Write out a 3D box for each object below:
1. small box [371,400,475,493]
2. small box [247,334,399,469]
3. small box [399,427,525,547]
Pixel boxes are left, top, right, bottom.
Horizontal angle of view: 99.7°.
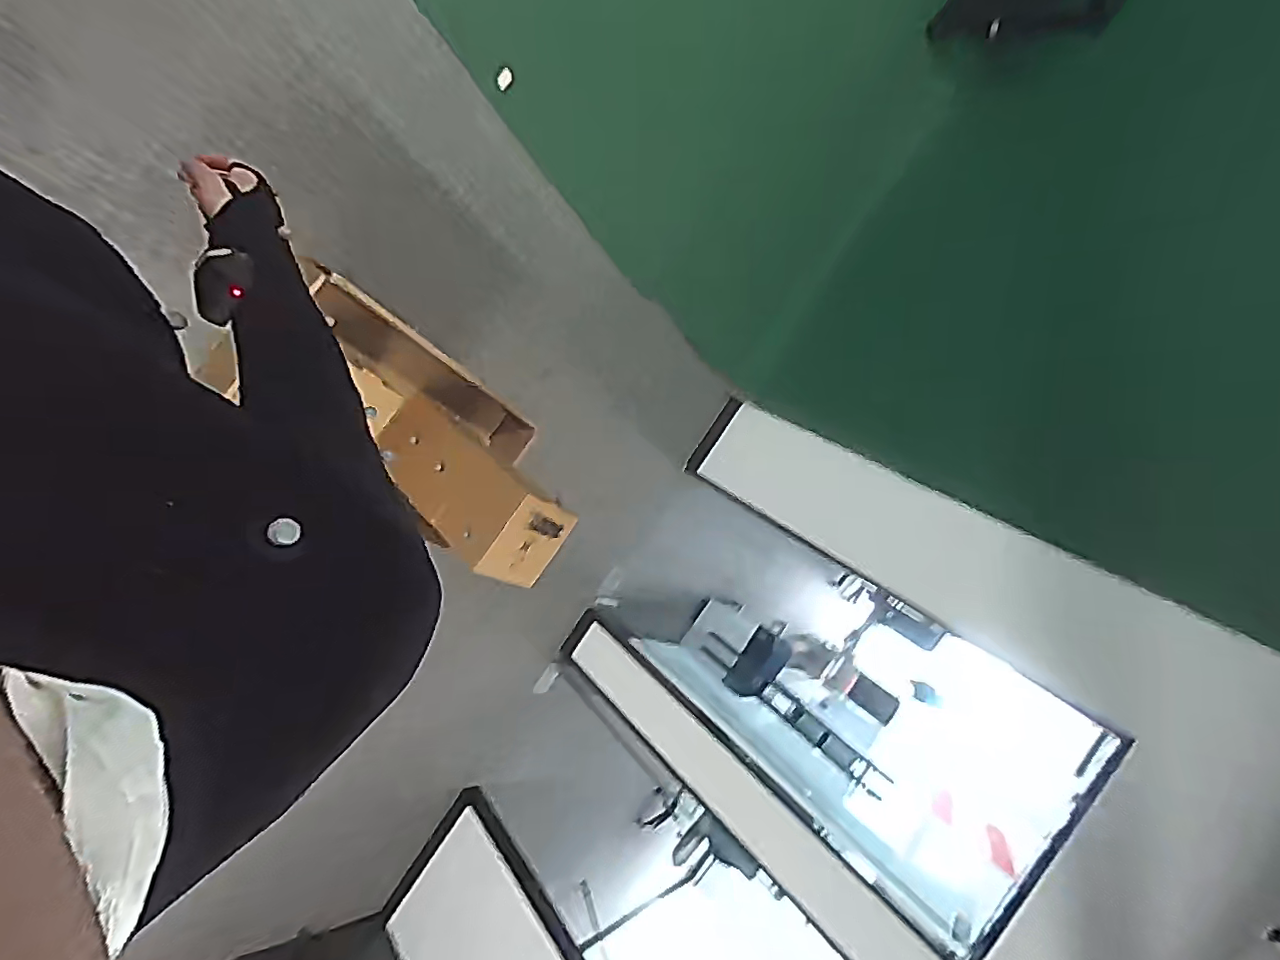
[{"bbox_3d":[-0.505,-0.058,1.283,0.179,0.176,0.168,-54,145,-3],"label":"small box"},{"bbox_3d":[-0.623,-0.157,1.059,0.179,0.176,0.168,-53,146,-5],"label":"small box"},{"bbox_3d":[-0.395,0.015,1.185,0.179,0.176,0.168,-56,145,-3],"label":"small box"}]
